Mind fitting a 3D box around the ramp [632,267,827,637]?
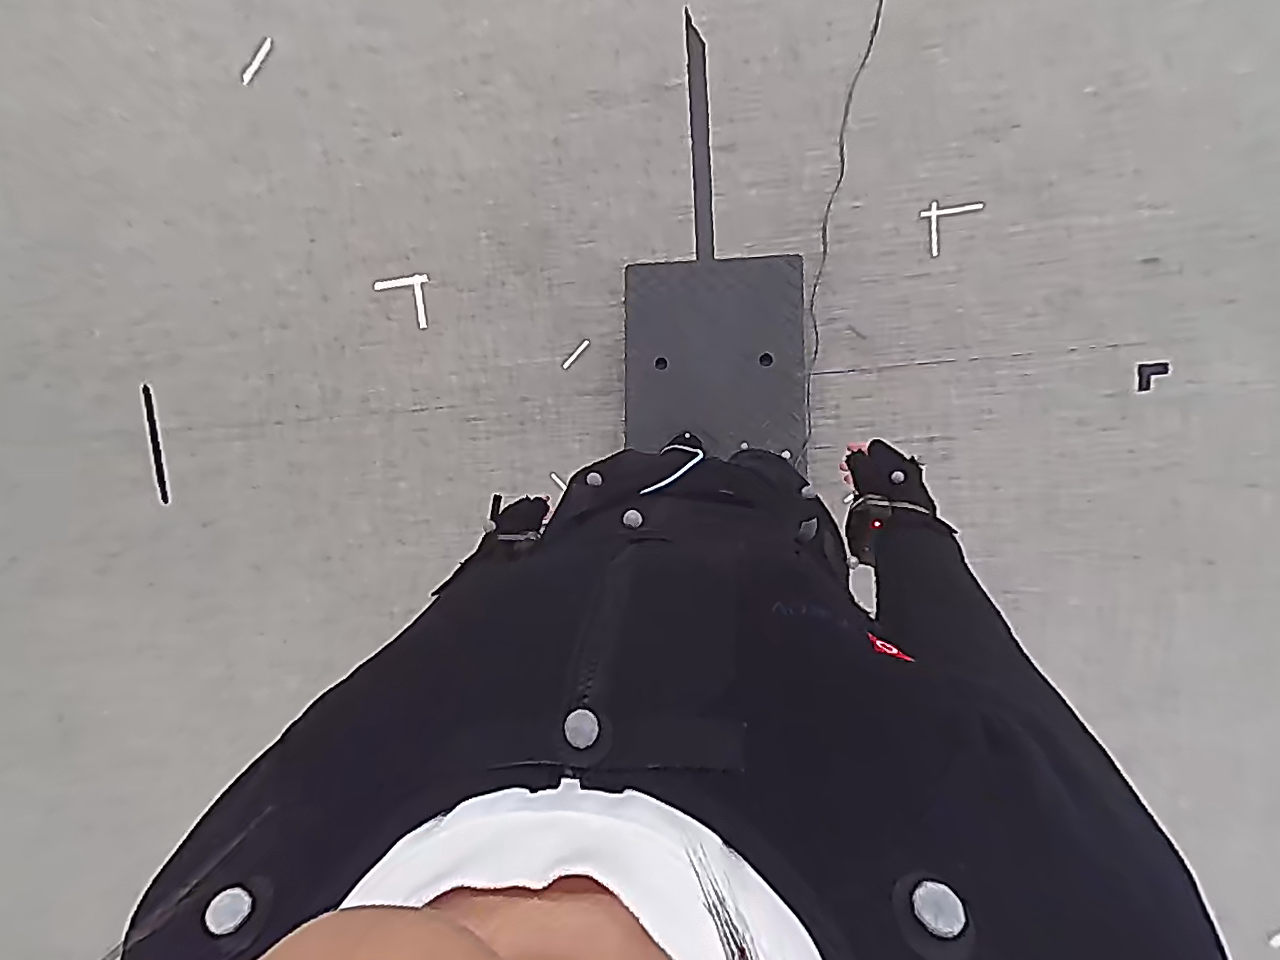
[{"bbox_3d":[0.226,-0.085,1.473,0.509,0.206,0.991,-4,93,10],"label":"ramp"}]
